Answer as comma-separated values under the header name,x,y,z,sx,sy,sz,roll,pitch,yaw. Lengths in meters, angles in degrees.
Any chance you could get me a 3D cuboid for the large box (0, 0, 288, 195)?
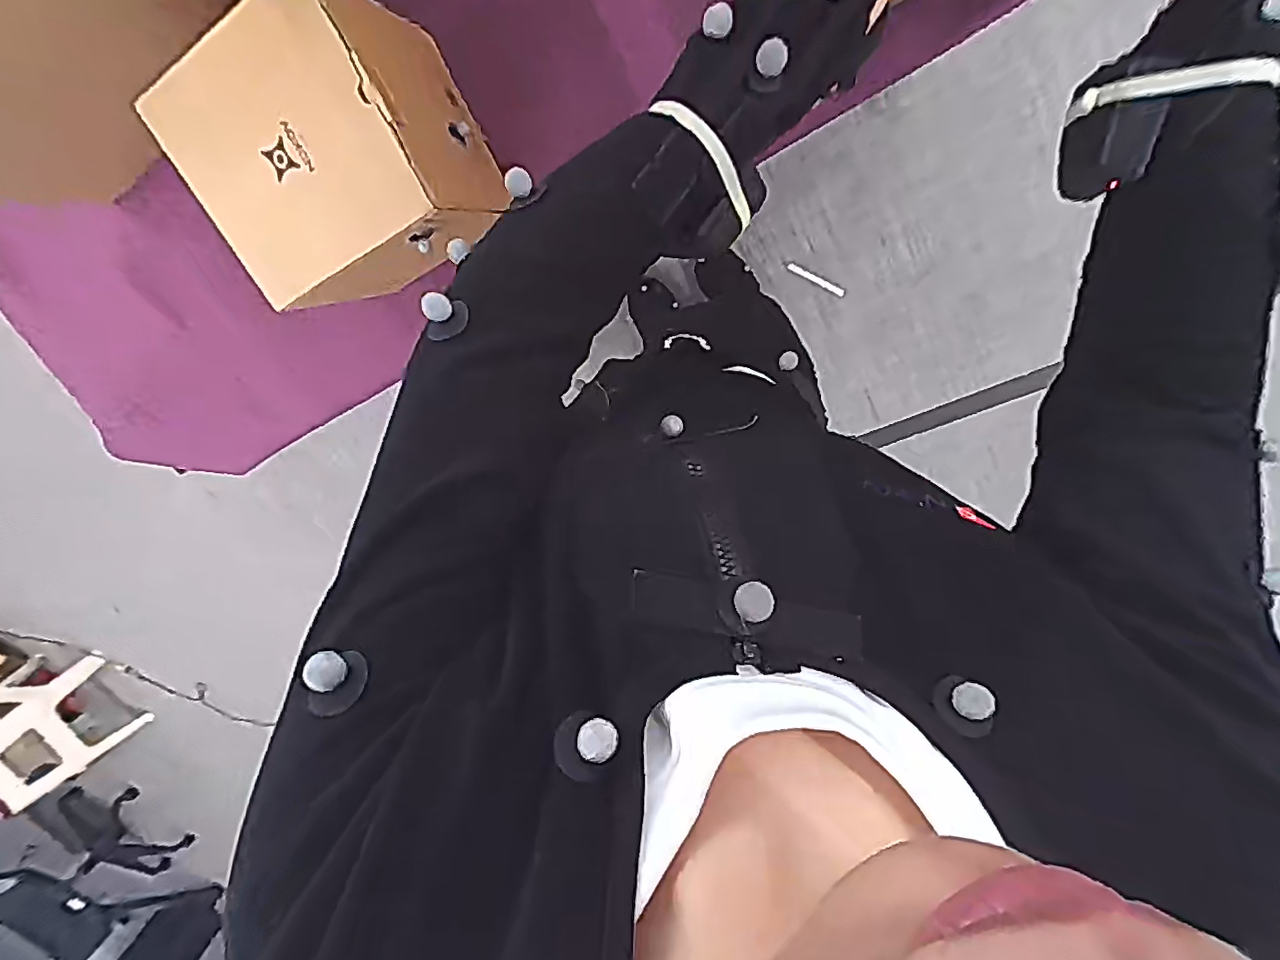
name,x,y,z,sx,sy,sz,roll,pitch,yaw
large box,-0.566,-0.462,0.350,0.320,0.320,0.408,-25,112,20
